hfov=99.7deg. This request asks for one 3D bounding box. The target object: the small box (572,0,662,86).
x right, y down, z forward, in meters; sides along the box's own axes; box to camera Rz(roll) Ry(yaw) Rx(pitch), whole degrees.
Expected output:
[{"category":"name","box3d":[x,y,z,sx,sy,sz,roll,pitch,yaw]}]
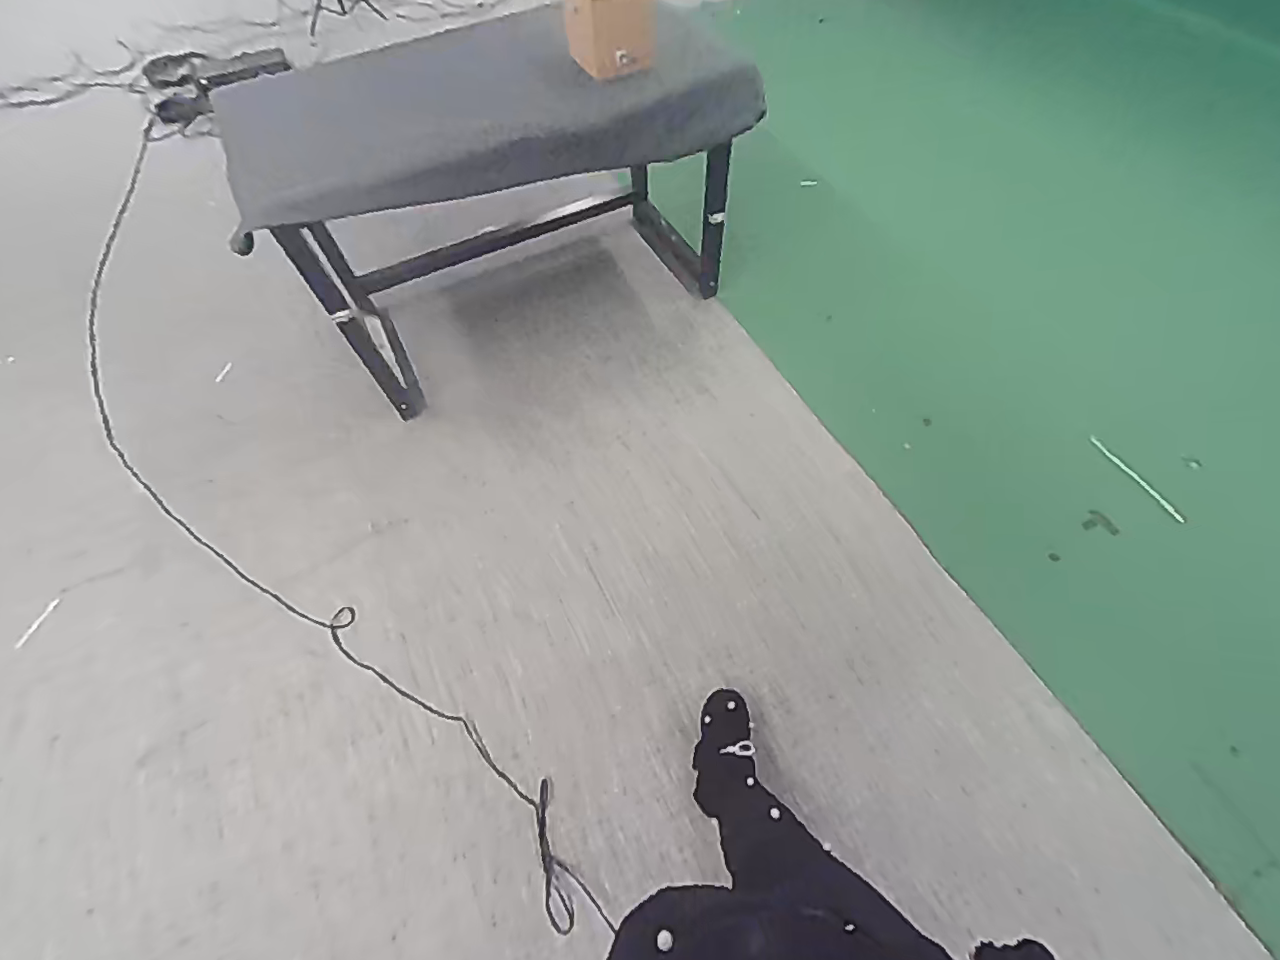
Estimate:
[{"category":"small box","box3d":[-0.058,-1.098,1.310,0.168,0.176,0.179,-25,62,-10]}]
